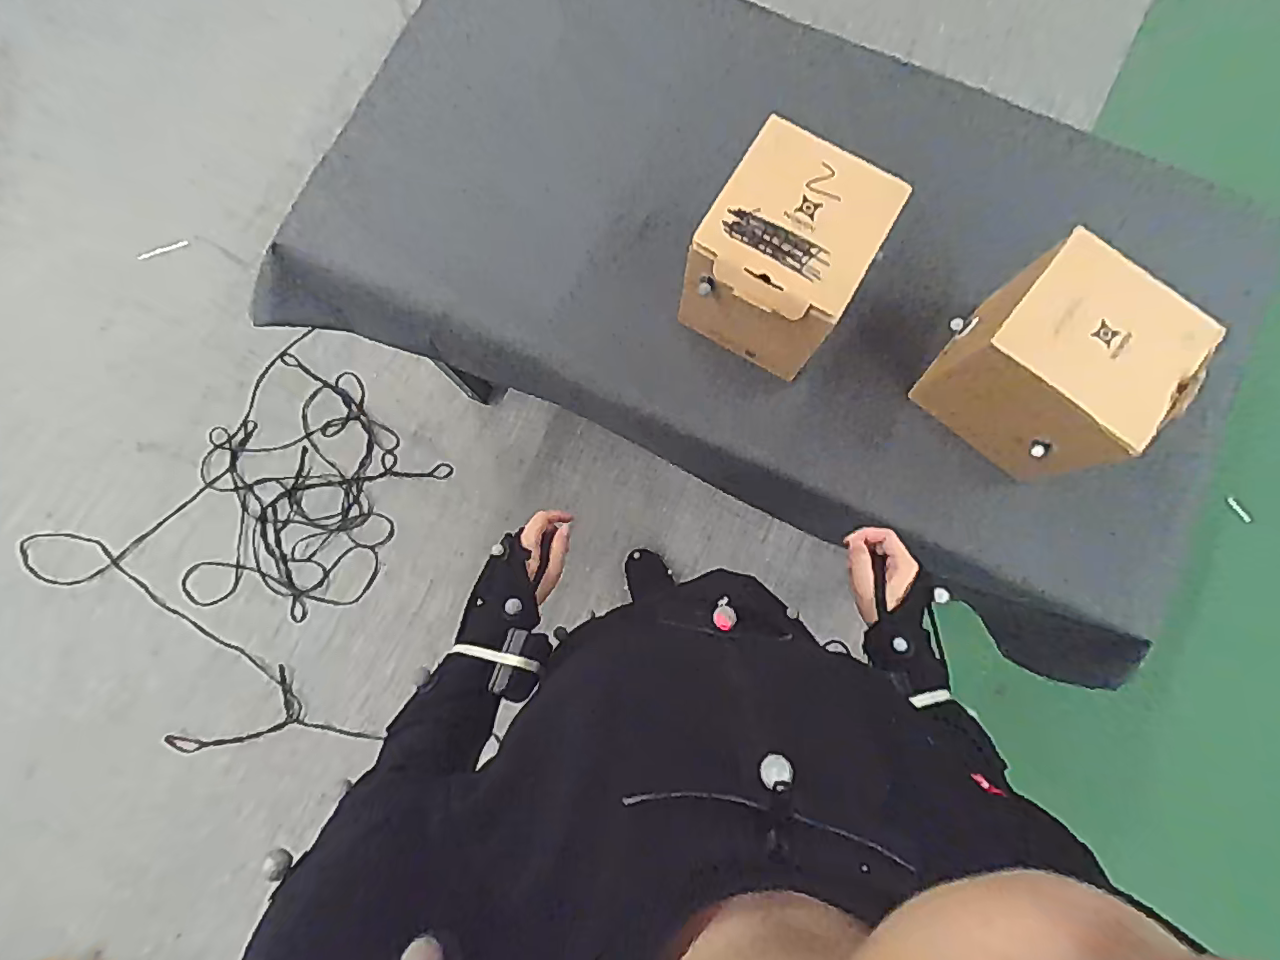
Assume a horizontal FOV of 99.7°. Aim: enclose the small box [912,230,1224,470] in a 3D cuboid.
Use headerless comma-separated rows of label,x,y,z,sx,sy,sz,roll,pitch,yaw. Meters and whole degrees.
small box,0.456,-0.128,0.607,0.179,0.176,0.168,39,82,6
